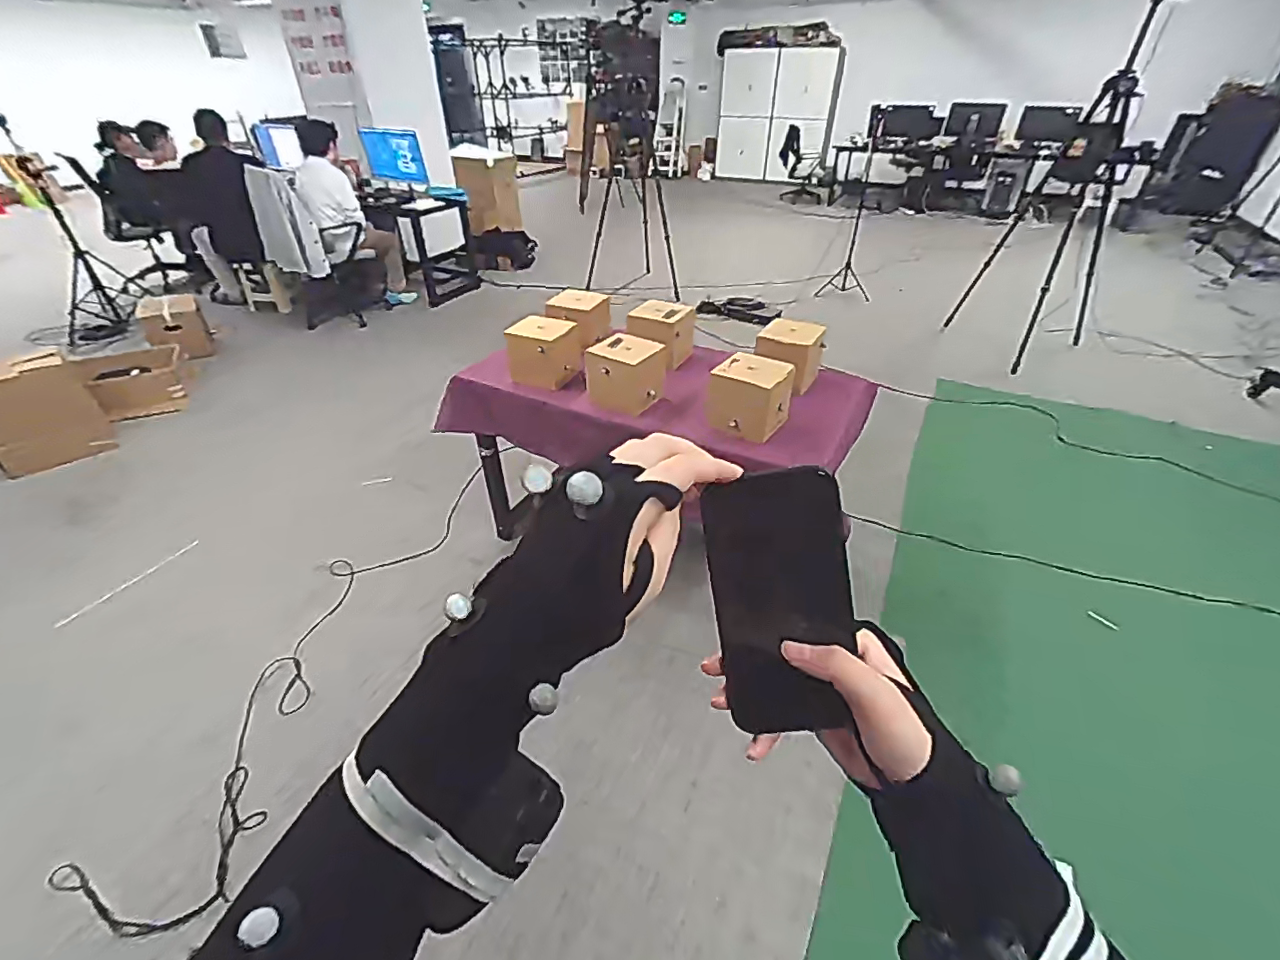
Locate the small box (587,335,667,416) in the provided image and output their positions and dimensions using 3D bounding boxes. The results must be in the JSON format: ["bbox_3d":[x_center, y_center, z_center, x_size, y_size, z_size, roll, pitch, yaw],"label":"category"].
[{"bbox_3d":[-0.037,-0.310,1.606,0.179,0.176,0.168,23,42,27],"label":"small box"}]

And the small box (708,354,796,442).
[{"bbox_3d":[0.303,-0.223,1.487,0.179,0.176,0.168,23,42,28],"label":"small box"}]

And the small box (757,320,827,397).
[{"bbox_3d":[0.468,-0.383,1.702,0.168,0.176,0.179,20,42,26],"label":"small box"}]

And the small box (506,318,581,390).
[{"bbox_3d":[-0.305,-0.405,1.738,0.179,0.176,0.168,15,39,17],"label":"small box"}]
